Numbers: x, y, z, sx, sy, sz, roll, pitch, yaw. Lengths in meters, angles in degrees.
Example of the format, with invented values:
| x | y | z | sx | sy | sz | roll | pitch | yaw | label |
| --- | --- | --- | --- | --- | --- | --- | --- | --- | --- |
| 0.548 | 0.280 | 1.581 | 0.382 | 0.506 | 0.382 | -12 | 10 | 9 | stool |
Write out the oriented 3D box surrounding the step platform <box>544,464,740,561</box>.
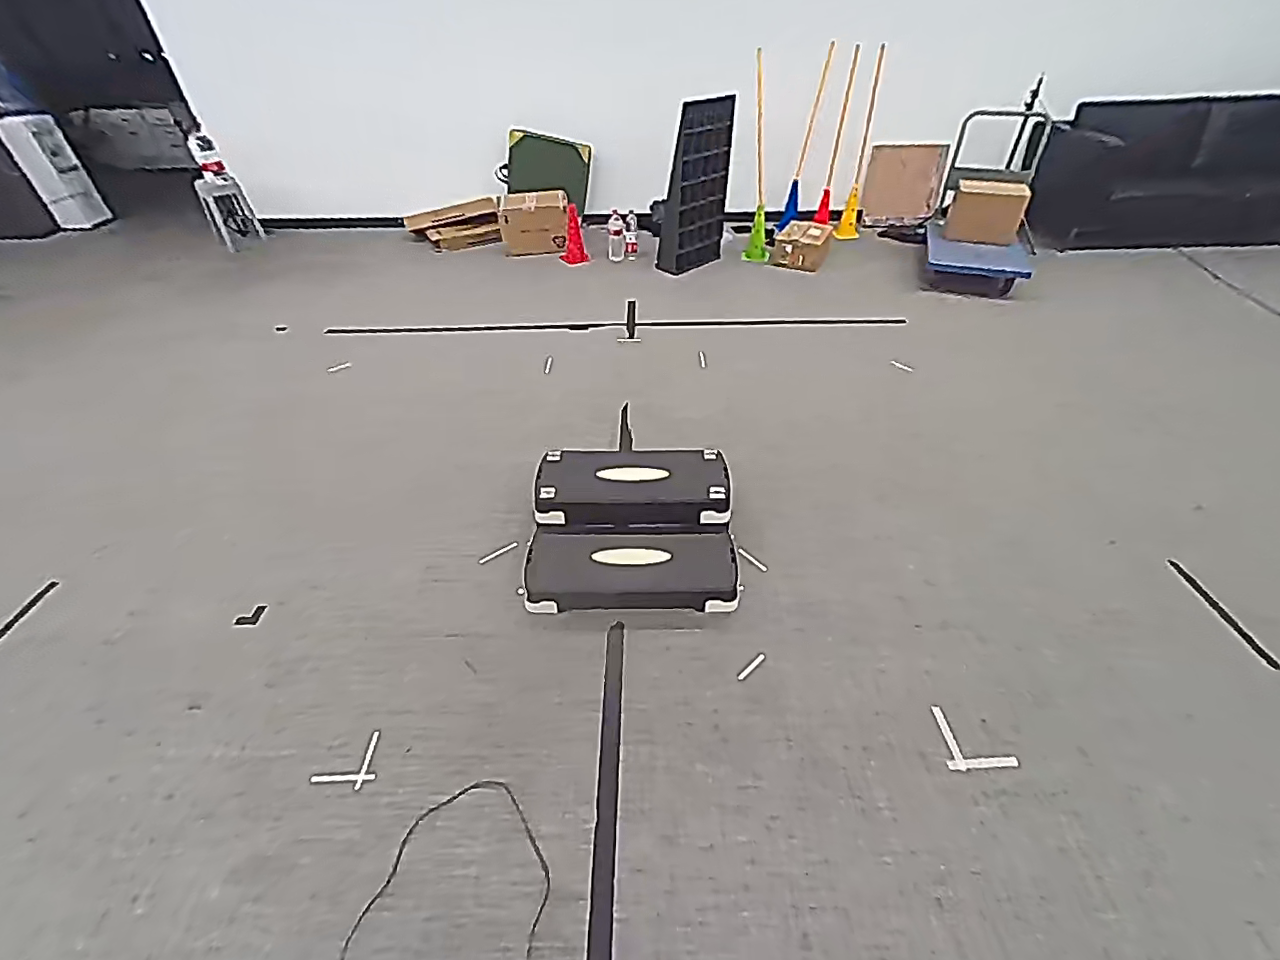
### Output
| x | y | z | sx | sy | sz | roll | pitch | yaw | label |
| --- | --- | --- | --- | --- | --- | --- | --- | --- | --- |
| 0.008 | 0.107 | 1.922 | 0.684 | 0.204 | 0.286 | 2 | 40 | 4 | step platform |
